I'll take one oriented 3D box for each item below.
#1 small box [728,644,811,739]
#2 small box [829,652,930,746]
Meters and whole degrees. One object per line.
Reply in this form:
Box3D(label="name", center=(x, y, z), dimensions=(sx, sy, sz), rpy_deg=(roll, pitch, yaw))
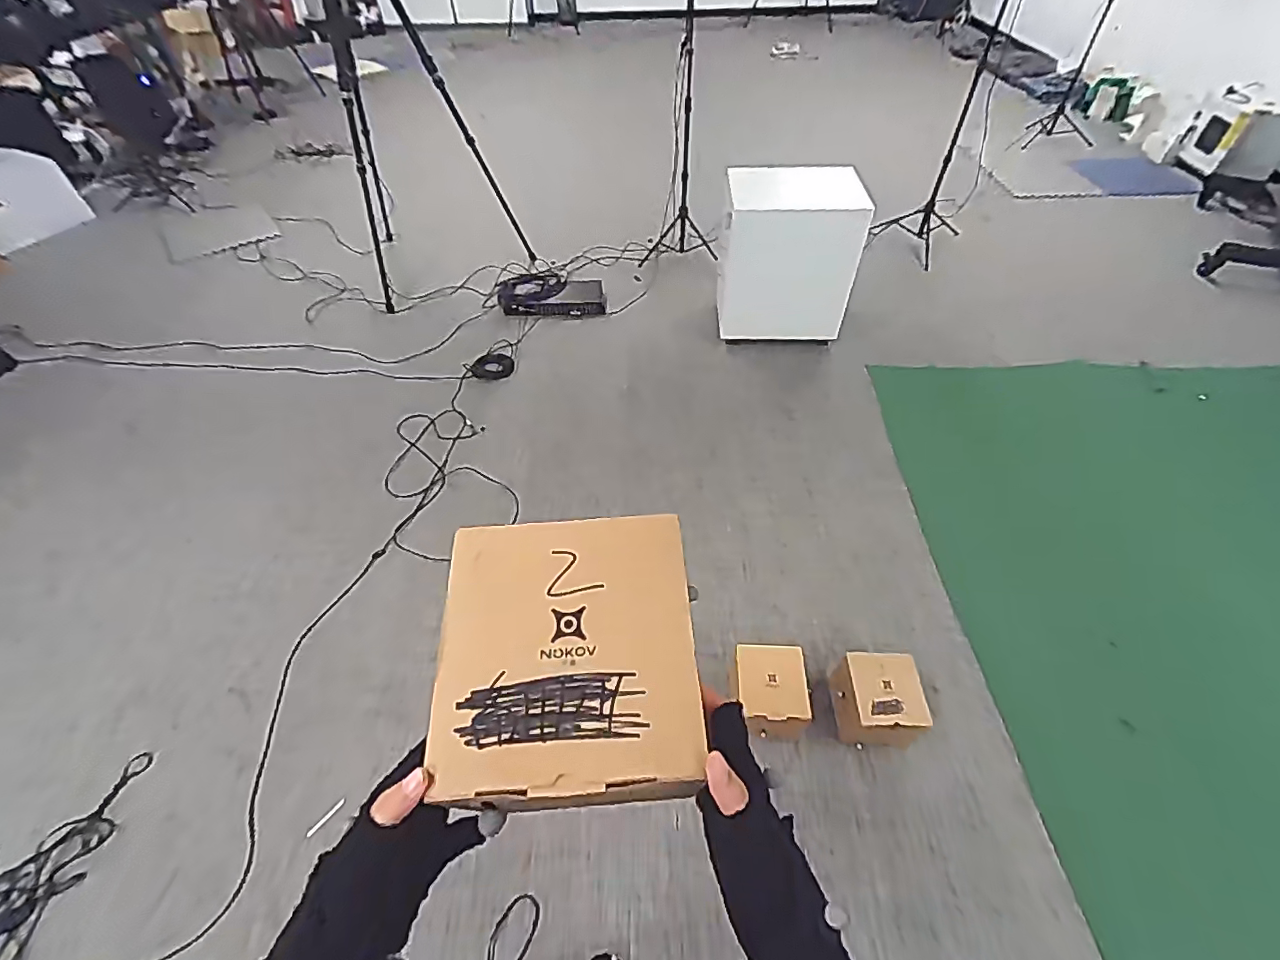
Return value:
Box3D(label="small box", center=(0.316, 0.532, 1.358), dimensions=(0.168, 0.176, 0.179), rpy_deg=(2, 50, 2))
Box3D(label="small box", center=(0.584, 0.547, 1.342), dimensions=(0.168, 0.176, 0.179), rpy_deg=(1, 49, 2))
